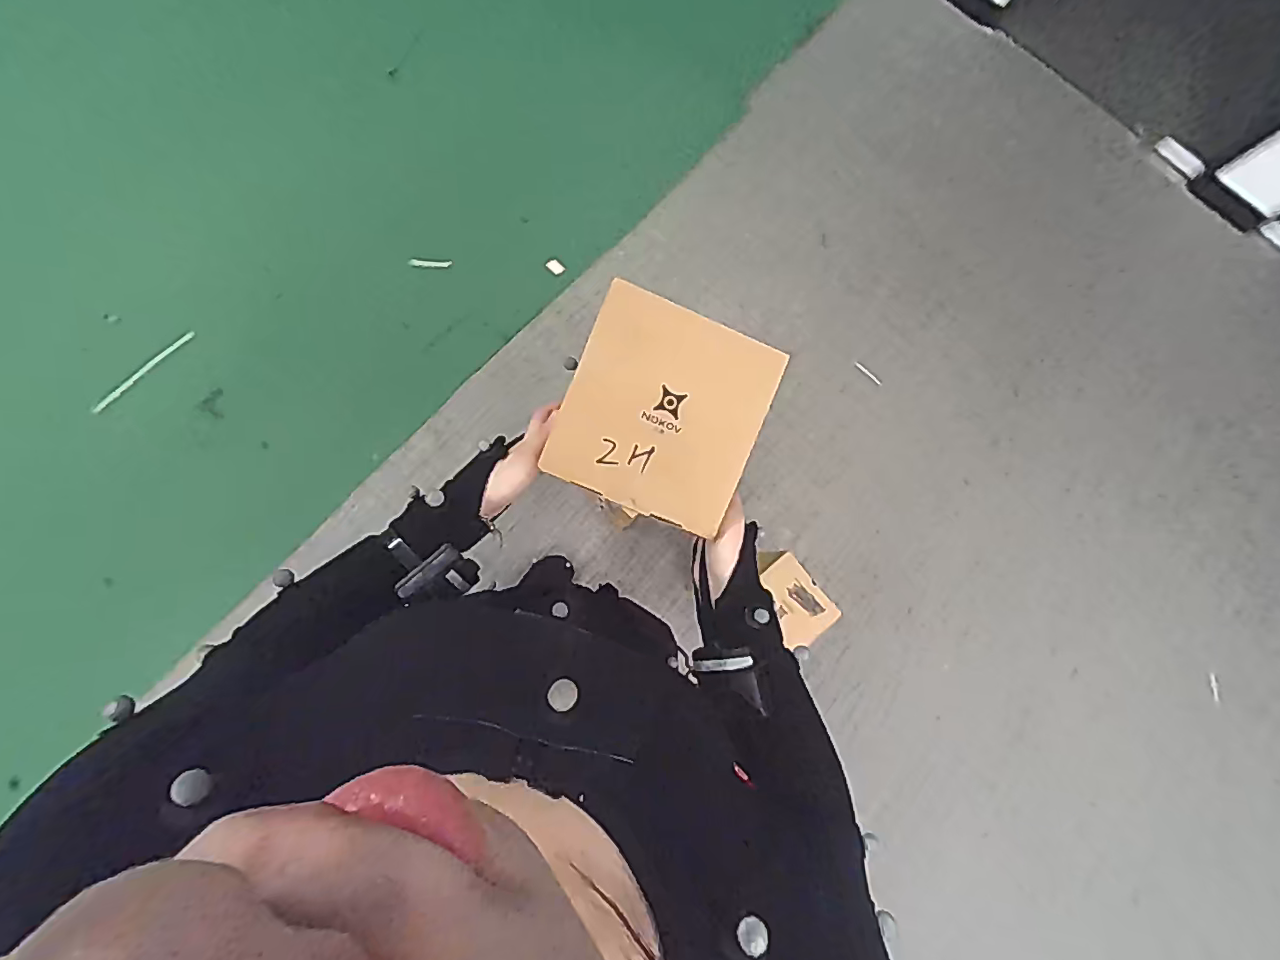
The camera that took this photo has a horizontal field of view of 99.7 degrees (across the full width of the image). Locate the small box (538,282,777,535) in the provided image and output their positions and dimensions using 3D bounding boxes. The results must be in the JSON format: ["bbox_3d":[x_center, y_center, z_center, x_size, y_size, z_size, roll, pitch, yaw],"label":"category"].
[{"bbox_3d":[0.008,-0.065,0.550,0.168,0.176,0.179,22,92,-6],"label":"small box"}]

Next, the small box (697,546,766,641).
[{"bbox_3d":[0.263,0.279,1.321,0.179,0.176,0.168,-40,87,-10],"label":"small box"}]

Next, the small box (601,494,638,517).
[{"bbox_3d":[-0.023,-0.026,1.341,0.168,0.176,0.179,43,80,3],"label":"small box"}]

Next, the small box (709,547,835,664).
[{"bbox_3d":[0.273,0.259,1.158,0.179,0.176,0.168,-38,87,-8],"label":"small box"}]
